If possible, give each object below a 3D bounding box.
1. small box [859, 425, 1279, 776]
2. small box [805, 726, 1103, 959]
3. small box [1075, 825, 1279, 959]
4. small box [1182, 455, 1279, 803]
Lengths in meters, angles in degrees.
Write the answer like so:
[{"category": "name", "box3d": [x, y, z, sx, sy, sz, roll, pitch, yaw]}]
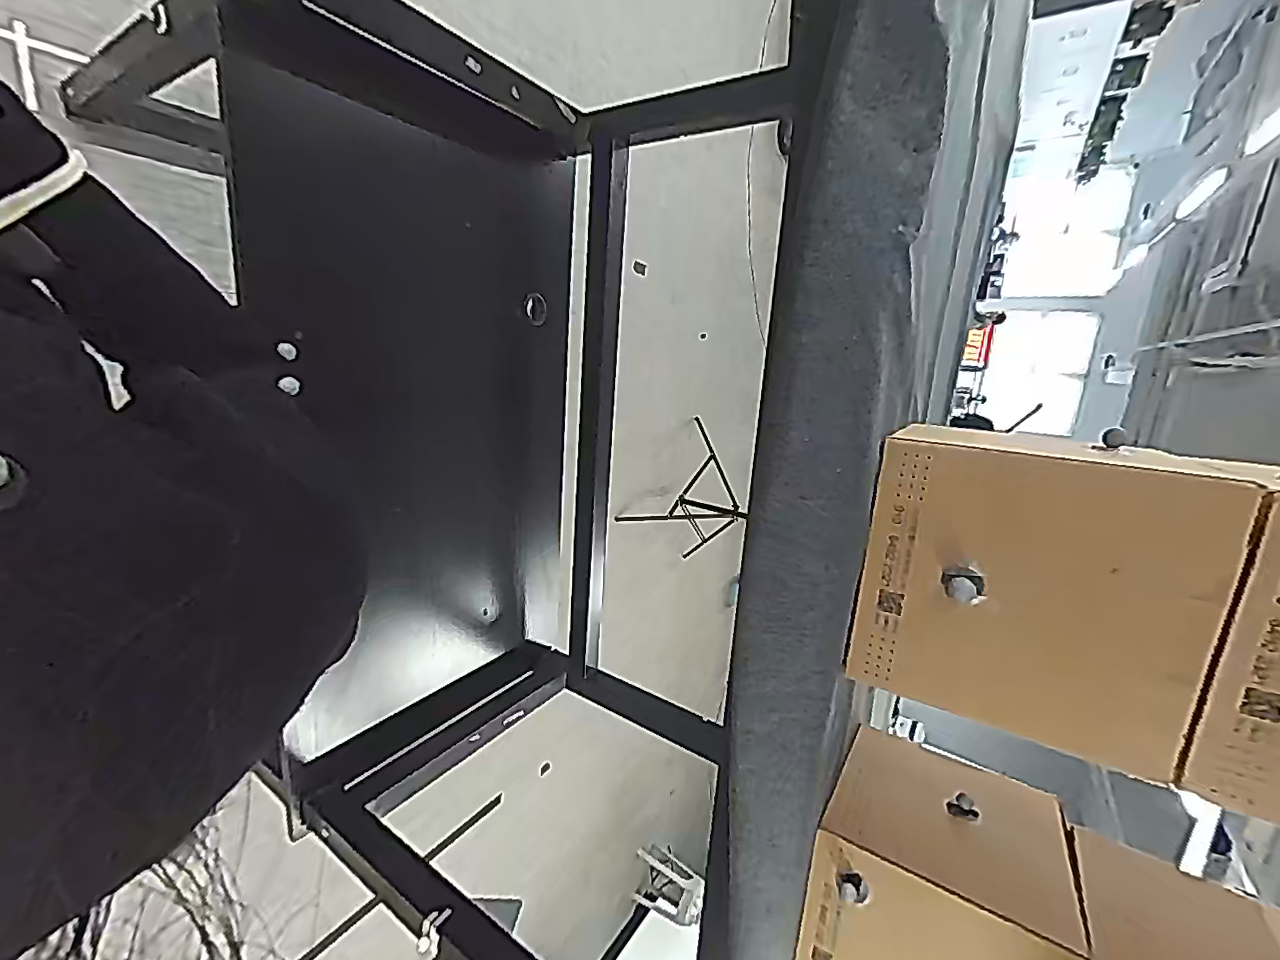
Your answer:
[{"category": "small box", "box3d": [0.266, 0.054, 0.381, 0.179, 0.176, 0.168, -15, 112, -58]}, {"category": "small box", "box3d": [0.248, 0.345, 0.452, 0.179, 0.176, 0.168, -9, 108, -58]}, {"category": "small box", "box3d": [0.367, 0.377, 0.342, 0.179, 0.176, 0.168, -20, 118, -56]}, {"category": "small box", "box3d": [0.407, 0.084, 0.301, 0.179, 0.176, 0.168, -15, 114, -57]}]
